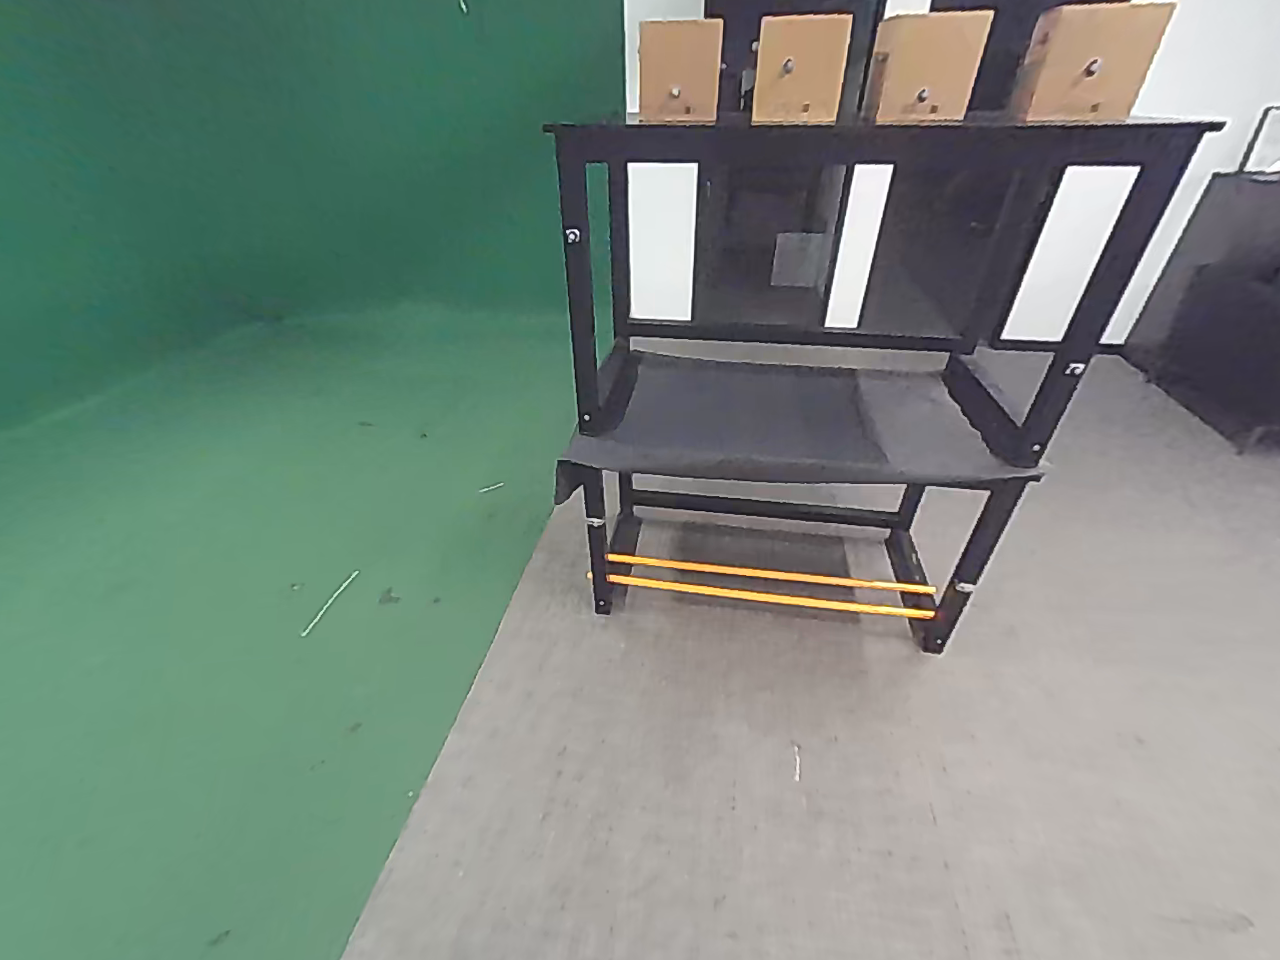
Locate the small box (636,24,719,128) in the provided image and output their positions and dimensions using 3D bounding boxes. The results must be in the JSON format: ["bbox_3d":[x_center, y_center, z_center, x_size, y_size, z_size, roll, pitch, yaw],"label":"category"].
[{"bbox_3d":[0.081,-0.868,1.168,0.168,0.176,0.179,2,36,5],"label":"small box"}]

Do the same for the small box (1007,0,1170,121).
[{"bbox_3d":[0.822,-0.778,1.014,0.168,0.176,0.179,11,37,16],"label":"small box"}]

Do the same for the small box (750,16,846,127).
[{"bbox_3d":[0.319,-0.835,1.117,0.168,0.176,0.179,6,36,10],"label":"small box"}]
